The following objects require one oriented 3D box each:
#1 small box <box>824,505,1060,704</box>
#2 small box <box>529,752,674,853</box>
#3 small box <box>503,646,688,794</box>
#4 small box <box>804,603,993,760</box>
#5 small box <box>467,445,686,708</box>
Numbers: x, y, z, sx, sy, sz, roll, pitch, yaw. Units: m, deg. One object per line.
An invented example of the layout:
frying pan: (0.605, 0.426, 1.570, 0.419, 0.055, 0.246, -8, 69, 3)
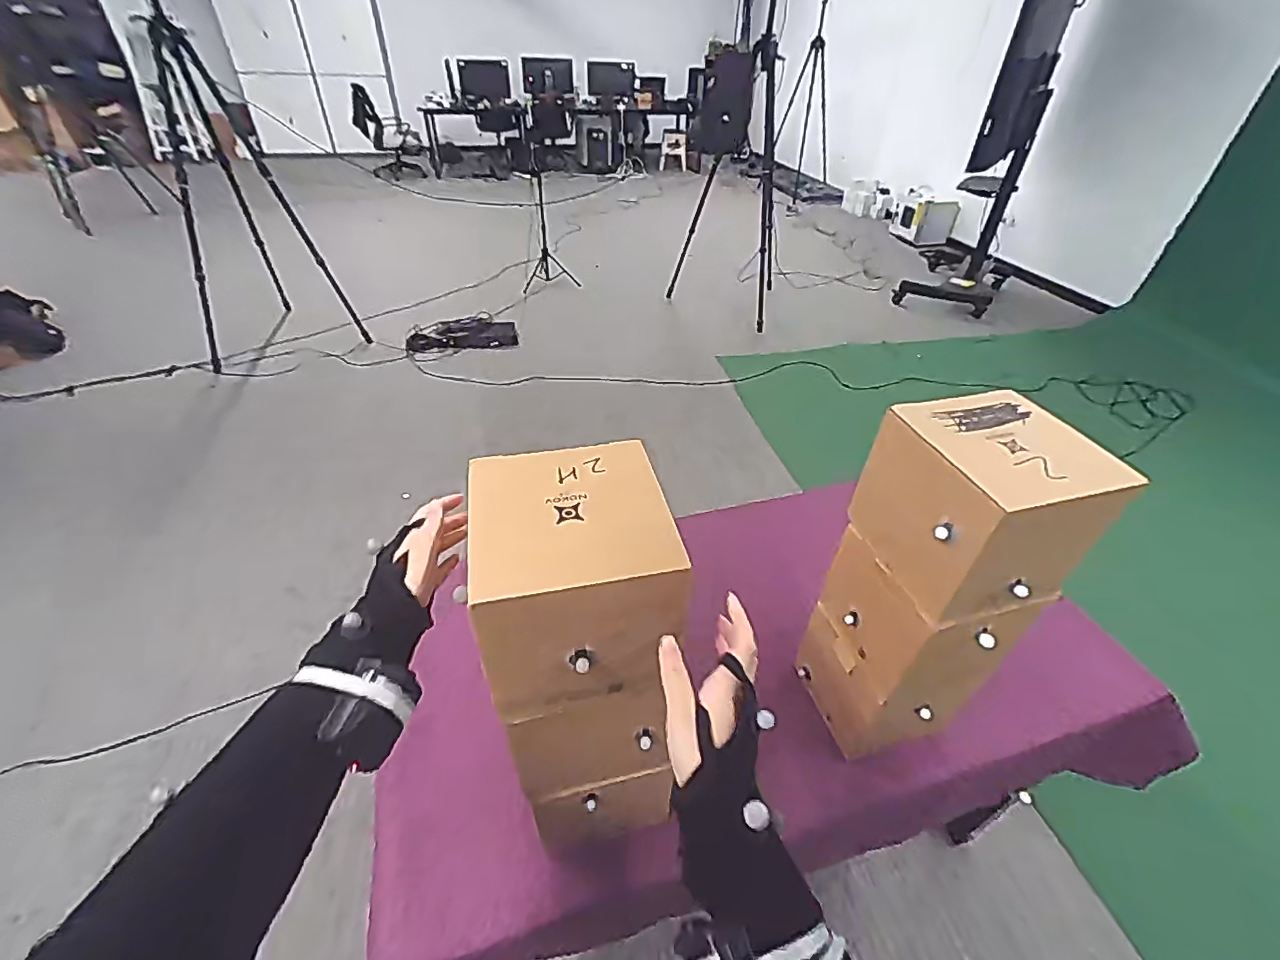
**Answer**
small box: (0.368, 0.159, 0.698, 0.179, 0.176, 0.168, -10, 41, -12)
small box: (-0.061, 0.348, 0.711, 0.168, 0.176, 0.179, -9, 40, -11)
small box: (-0.057, 0.221, 0.608, 0.179, 0.176, 0.168, -8, 40, -10)
small box: (0.362, 0.284, 0.801, 0.179, 0.176, 0.168, -8, 41, -13)
small box: (-0.061, 0.091, 0.506, 0.168, 0.176, 0.179, -6, 39, -11)
